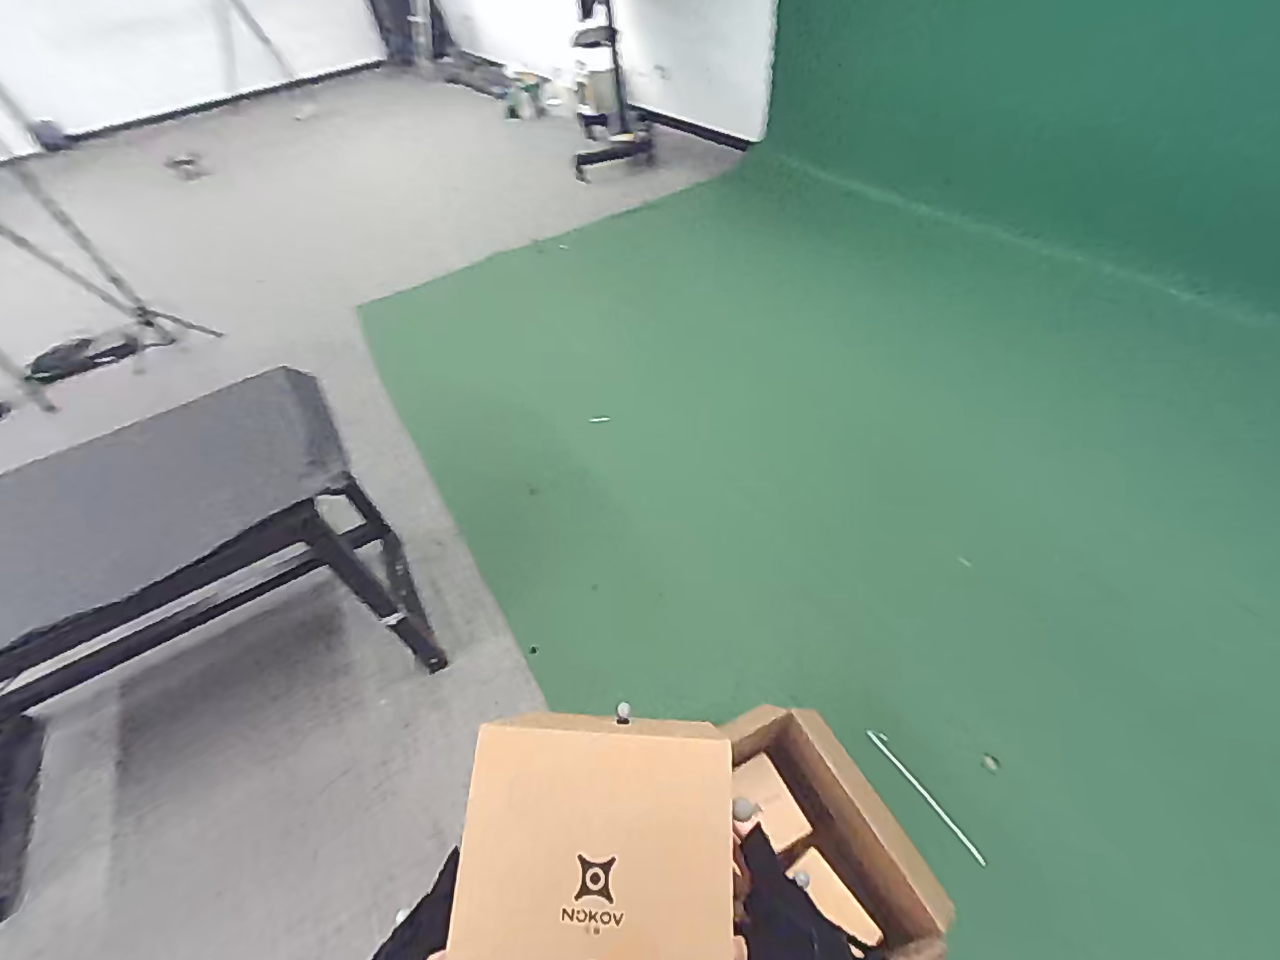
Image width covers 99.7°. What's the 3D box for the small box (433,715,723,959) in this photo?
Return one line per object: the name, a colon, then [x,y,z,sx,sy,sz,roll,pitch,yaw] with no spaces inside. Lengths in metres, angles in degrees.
small box: [-0.031,0.269,0.391,0.168,0.176,0.179,2,69,3]
